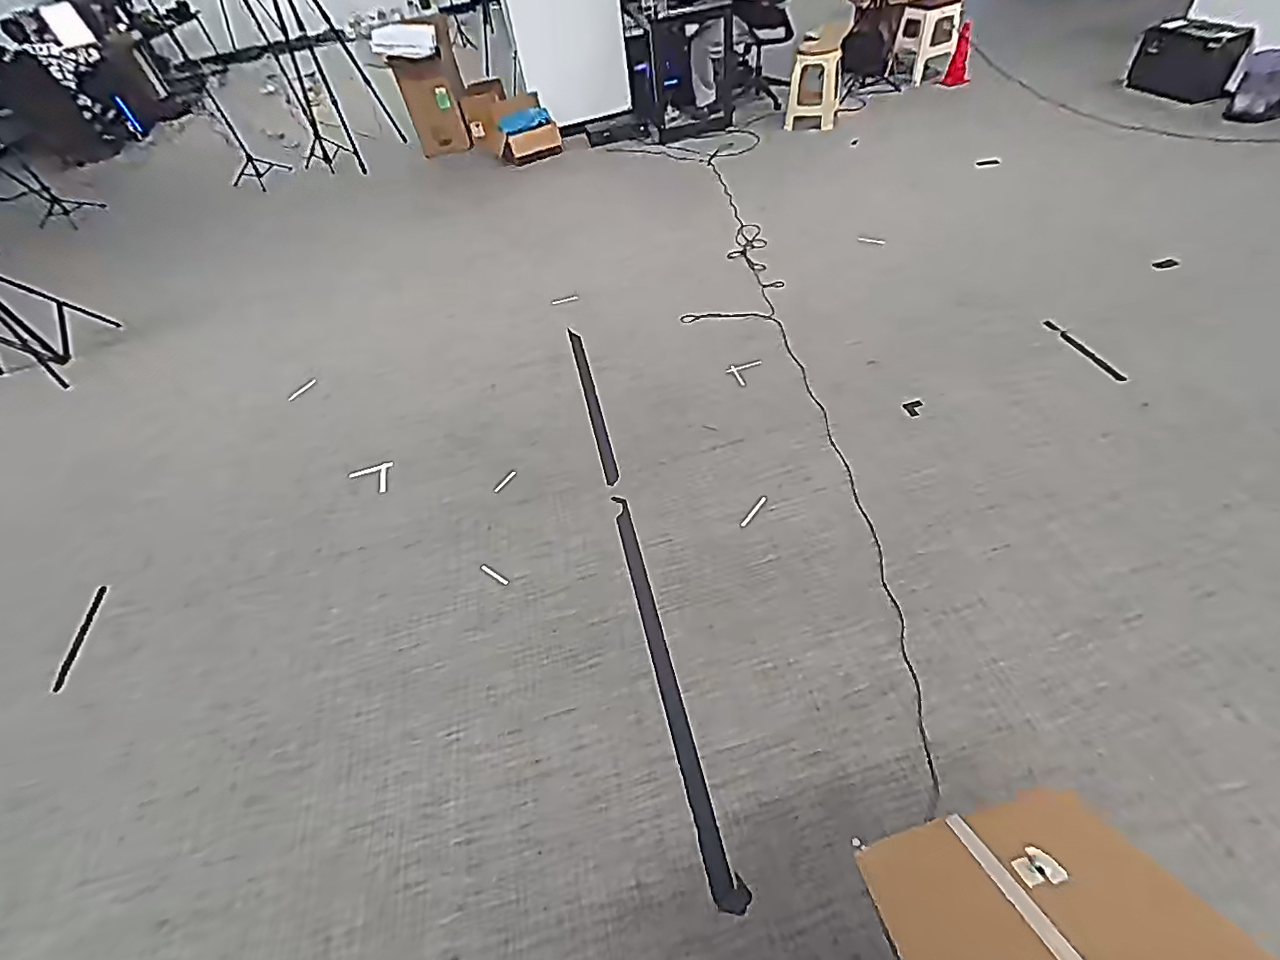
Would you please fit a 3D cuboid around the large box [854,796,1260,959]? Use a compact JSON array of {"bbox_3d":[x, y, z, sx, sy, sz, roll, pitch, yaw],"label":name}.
[{"bbox_3d":[0.505,0.653,0.602,0.320,0.408,0.320,-20,86,3],"label":"large box"}]
